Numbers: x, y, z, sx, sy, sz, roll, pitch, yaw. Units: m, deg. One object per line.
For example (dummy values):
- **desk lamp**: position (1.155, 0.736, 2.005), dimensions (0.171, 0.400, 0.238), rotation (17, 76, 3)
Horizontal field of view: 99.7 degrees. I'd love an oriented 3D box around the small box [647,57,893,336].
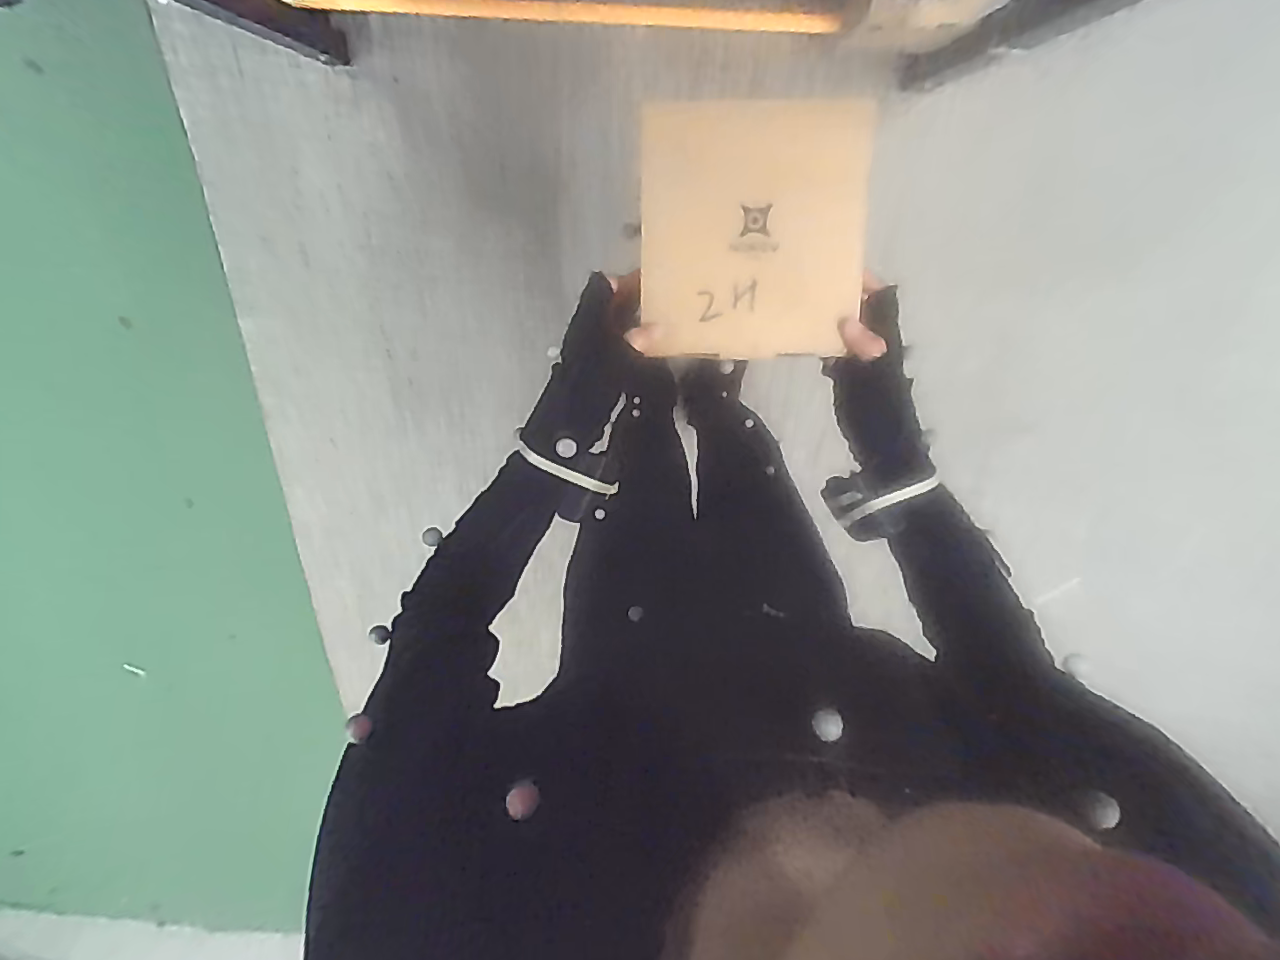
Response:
- **small box**: position (0.090, -0.216, 0.459), dimensions (0.168, 0.176, 0.179), rotation (0, 104, 1)
